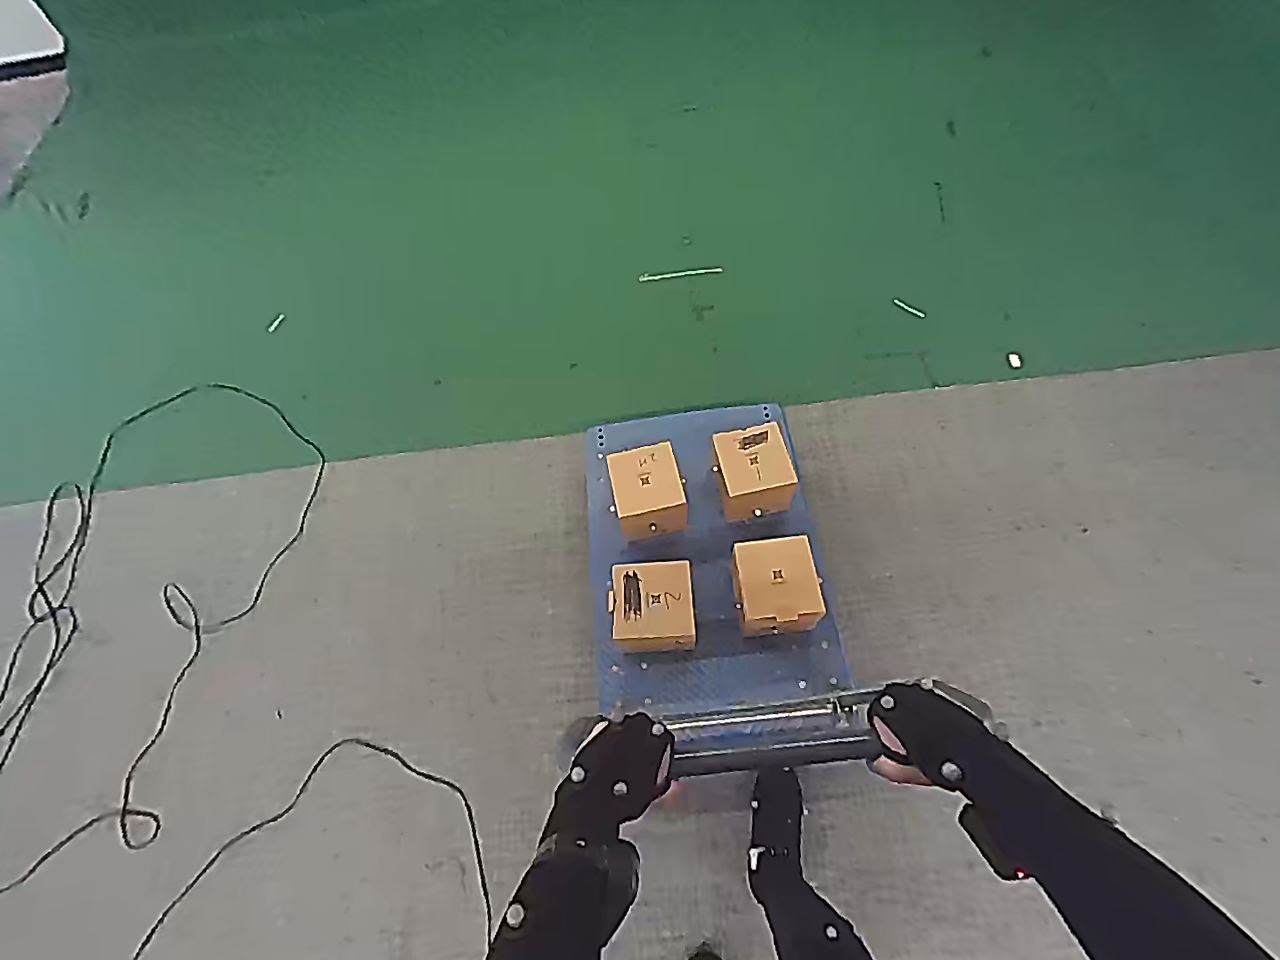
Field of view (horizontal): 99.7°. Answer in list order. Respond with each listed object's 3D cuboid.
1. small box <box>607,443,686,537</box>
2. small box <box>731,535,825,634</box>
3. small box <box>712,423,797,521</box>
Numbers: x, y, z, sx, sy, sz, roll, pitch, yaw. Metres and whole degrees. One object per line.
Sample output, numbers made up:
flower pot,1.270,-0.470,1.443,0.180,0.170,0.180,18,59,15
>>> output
small box,0.020,0.033,1.375,0.168,0.176,0.179,-12,63,-1
small box,0.306,0.244,1.241,0.168,0.176,0.179,-7,63,2
small box,0.281,-0.017,1.374,0.168,0.176,0.179,-12,64,0
